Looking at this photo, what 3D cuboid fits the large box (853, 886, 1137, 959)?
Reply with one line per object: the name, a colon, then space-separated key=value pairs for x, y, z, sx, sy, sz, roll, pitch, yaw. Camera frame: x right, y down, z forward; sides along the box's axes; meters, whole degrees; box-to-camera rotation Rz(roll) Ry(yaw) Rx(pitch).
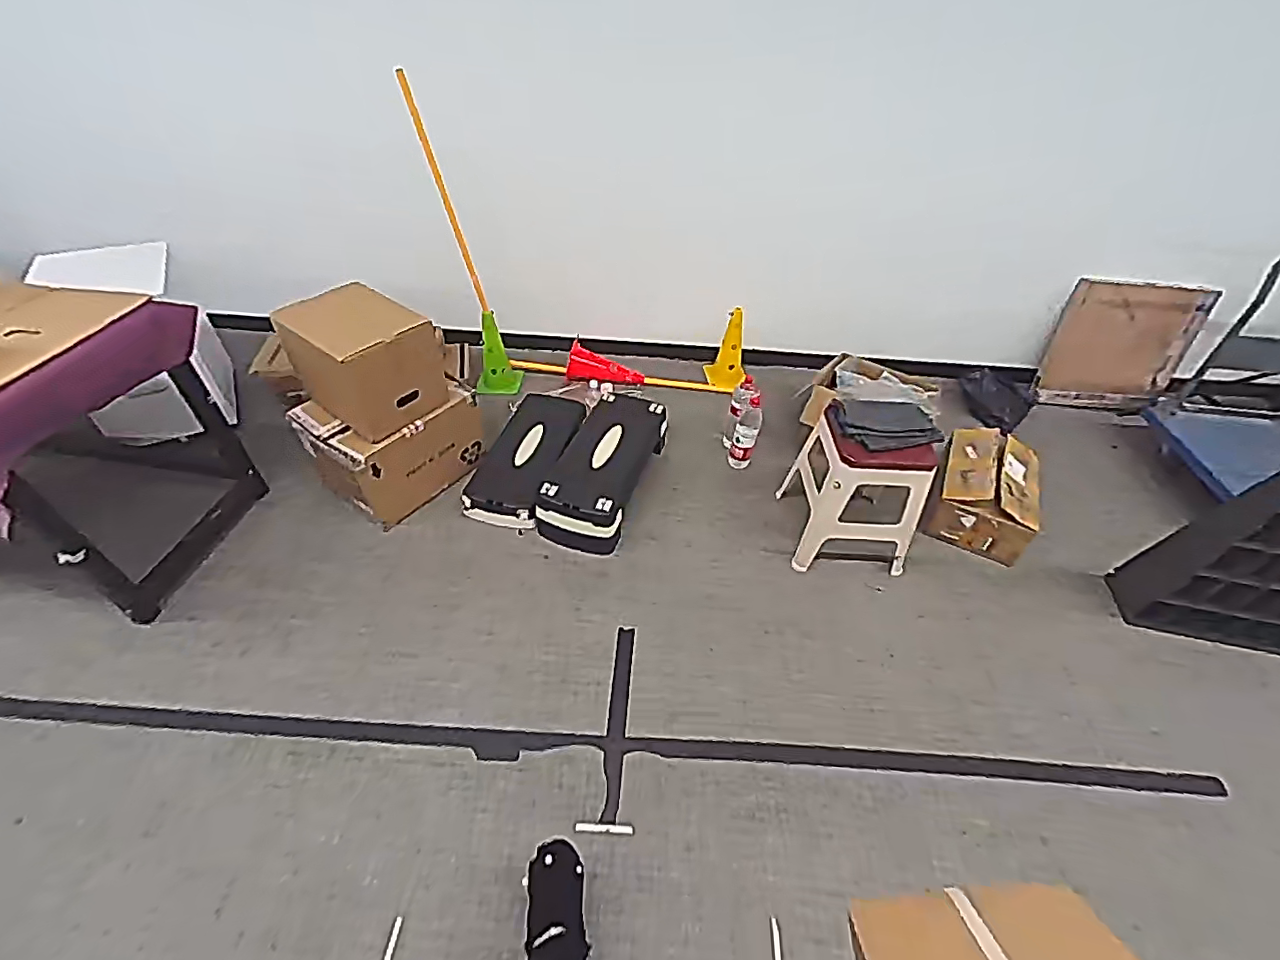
large box: x=0.467 y=0.754 z=0.595 sx=0.320 sy=0.320 sz=0.408 roll=-9 pitch=1 yaw=6
